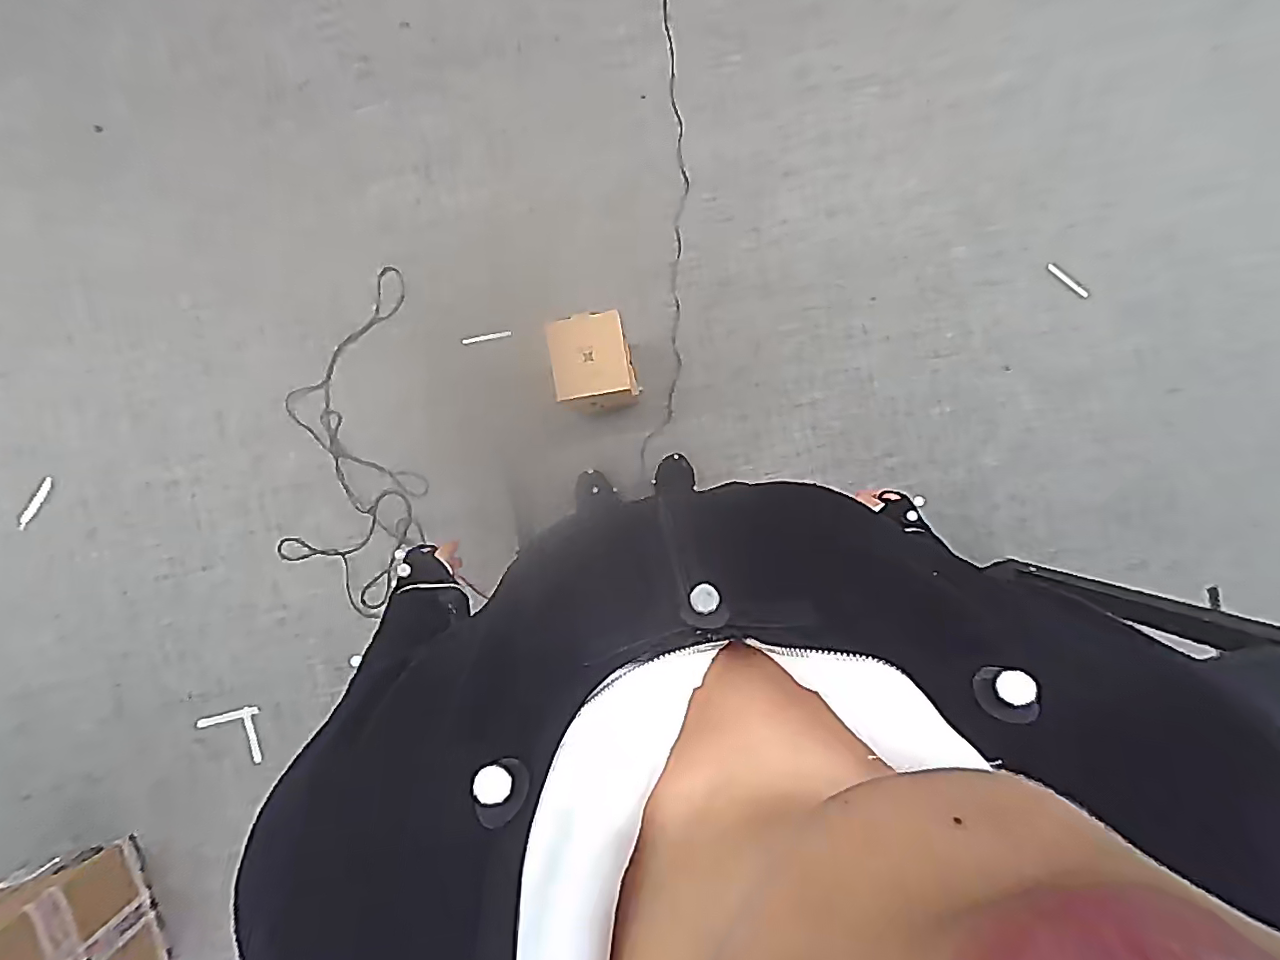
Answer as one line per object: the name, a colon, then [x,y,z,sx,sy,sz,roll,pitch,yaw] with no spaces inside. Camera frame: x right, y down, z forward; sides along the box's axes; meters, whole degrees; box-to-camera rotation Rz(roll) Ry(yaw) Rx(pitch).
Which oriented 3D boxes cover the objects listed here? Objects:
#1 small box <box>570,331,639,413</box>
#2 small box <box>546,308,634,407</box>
small box: [-0.102,-0.276,1.410,0.179,0.176,0.168,-12,91,1]
small box: [-0.110,-0.275,1.248,0.168,0.176,0.179,-10,92,2]
